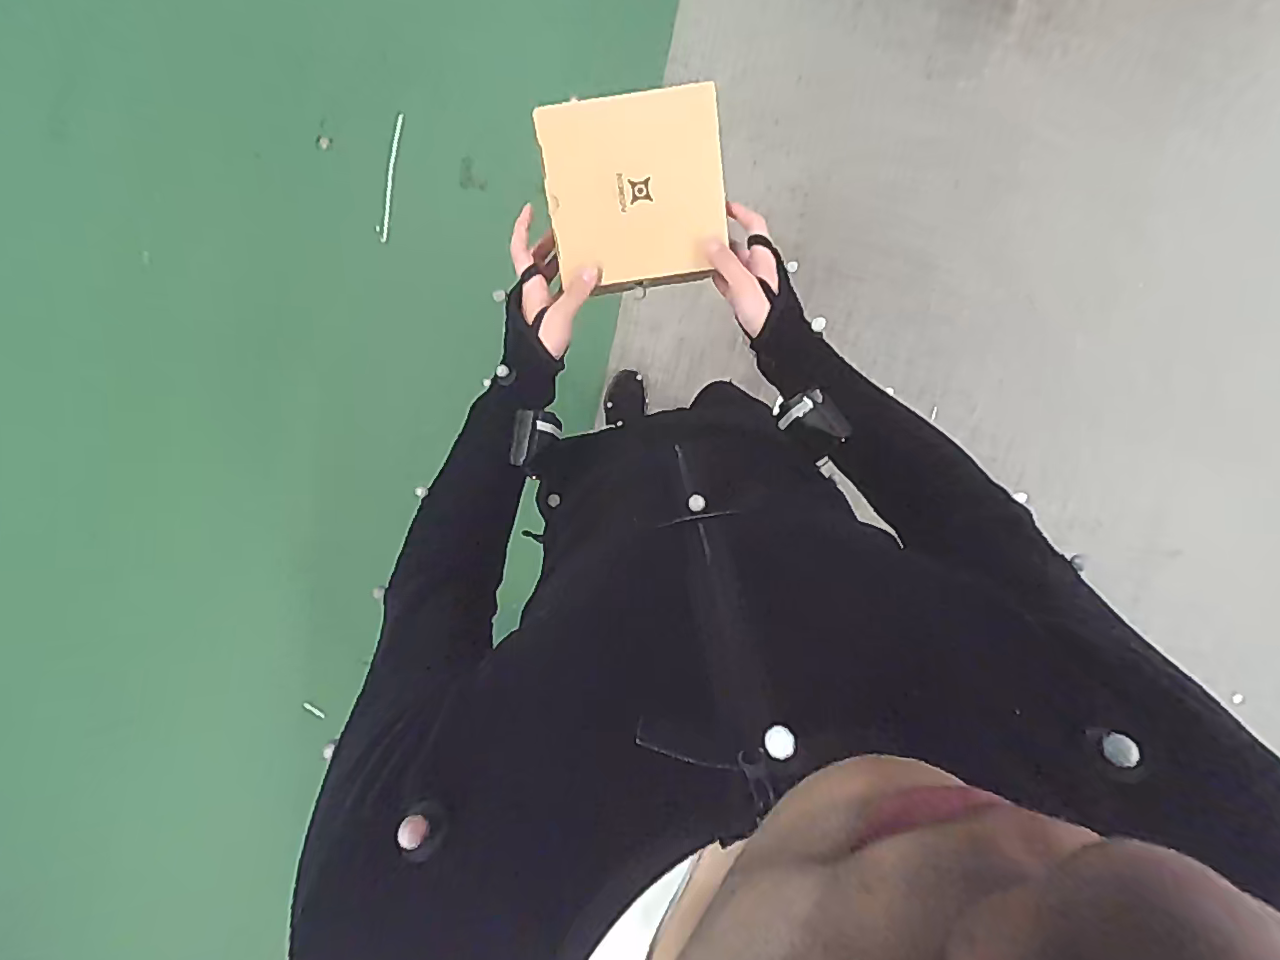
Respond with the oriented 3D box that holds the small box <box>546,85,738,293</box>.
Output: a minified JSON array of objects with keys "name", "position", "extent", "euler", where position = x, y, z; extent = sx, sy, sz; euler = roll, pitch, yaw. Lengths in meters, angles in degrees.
[{"name":"small box","position":[0.002,-0.305,0.603],"extent":[0.179,0.176,0.168],"euler":[-7,107,0]}]
